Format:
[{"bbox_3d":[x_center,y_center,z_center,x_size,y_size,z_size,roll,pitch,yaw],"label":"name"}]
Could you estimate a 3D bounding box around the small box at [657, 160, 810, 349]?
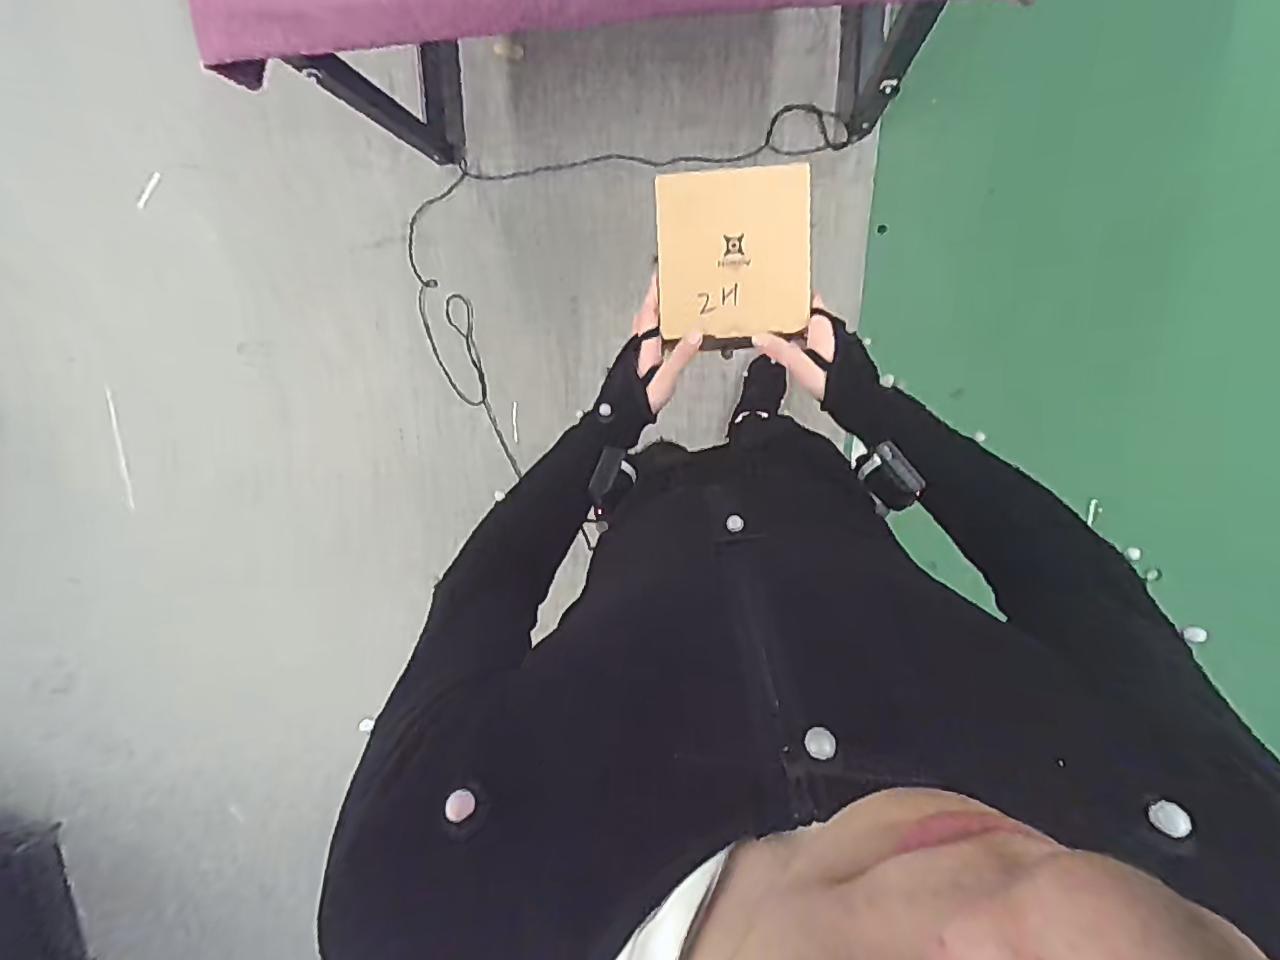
[{"bbox_3d":[0.107,-0.261,0.665,0.168,0.176,0.179,-2,99,5],"label":"small box"}]
